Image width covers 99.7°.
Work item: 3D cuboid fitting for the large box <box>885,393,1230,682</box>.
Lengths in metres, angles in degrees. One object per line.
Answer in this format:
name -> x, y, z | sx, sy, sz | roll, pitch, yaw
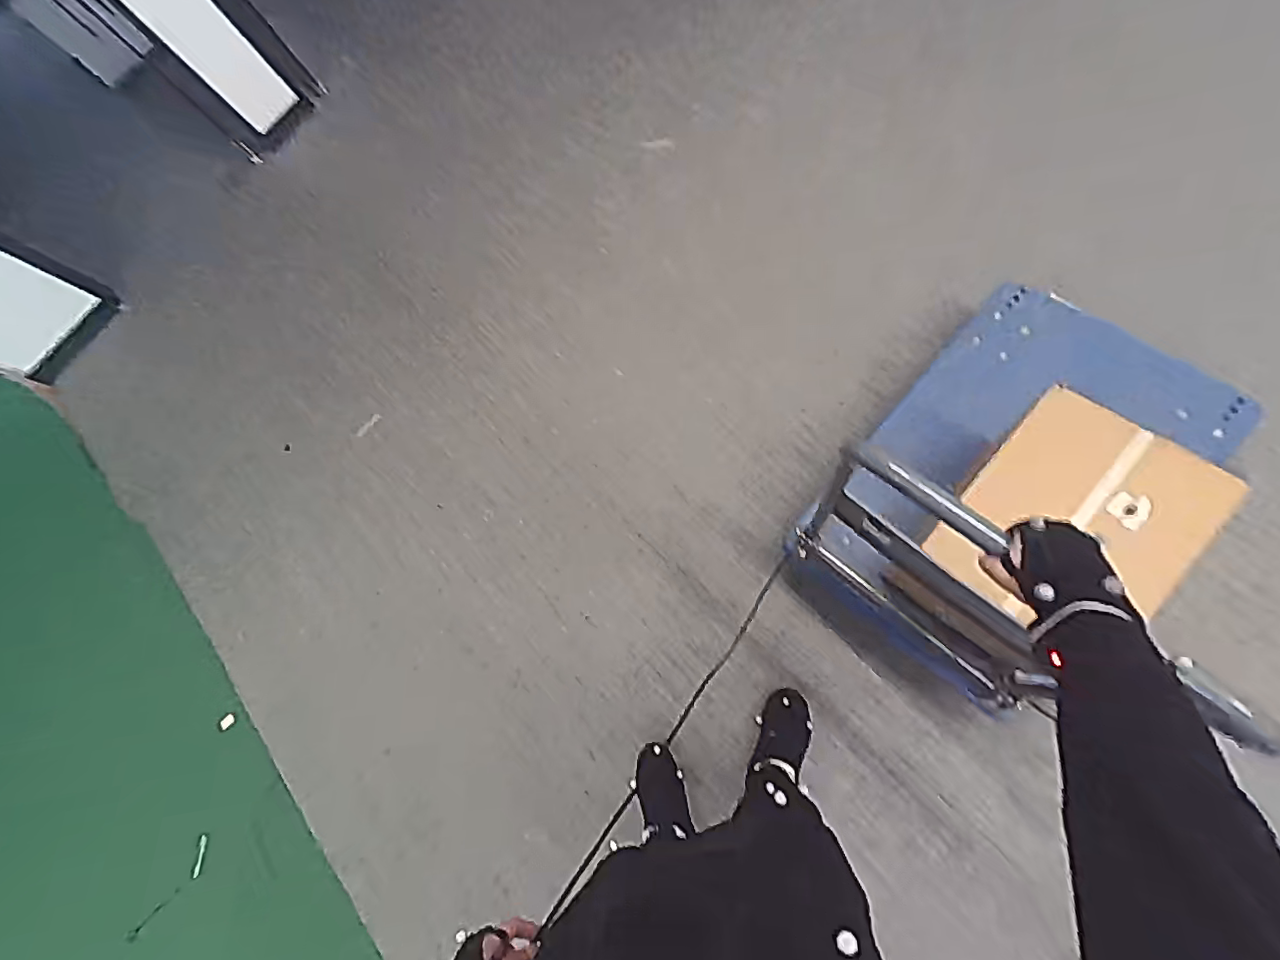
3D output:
large box -> 0.748, 0.123, 1.044 | 0.320, 0.320, 0.408 | 39, 86, 20
